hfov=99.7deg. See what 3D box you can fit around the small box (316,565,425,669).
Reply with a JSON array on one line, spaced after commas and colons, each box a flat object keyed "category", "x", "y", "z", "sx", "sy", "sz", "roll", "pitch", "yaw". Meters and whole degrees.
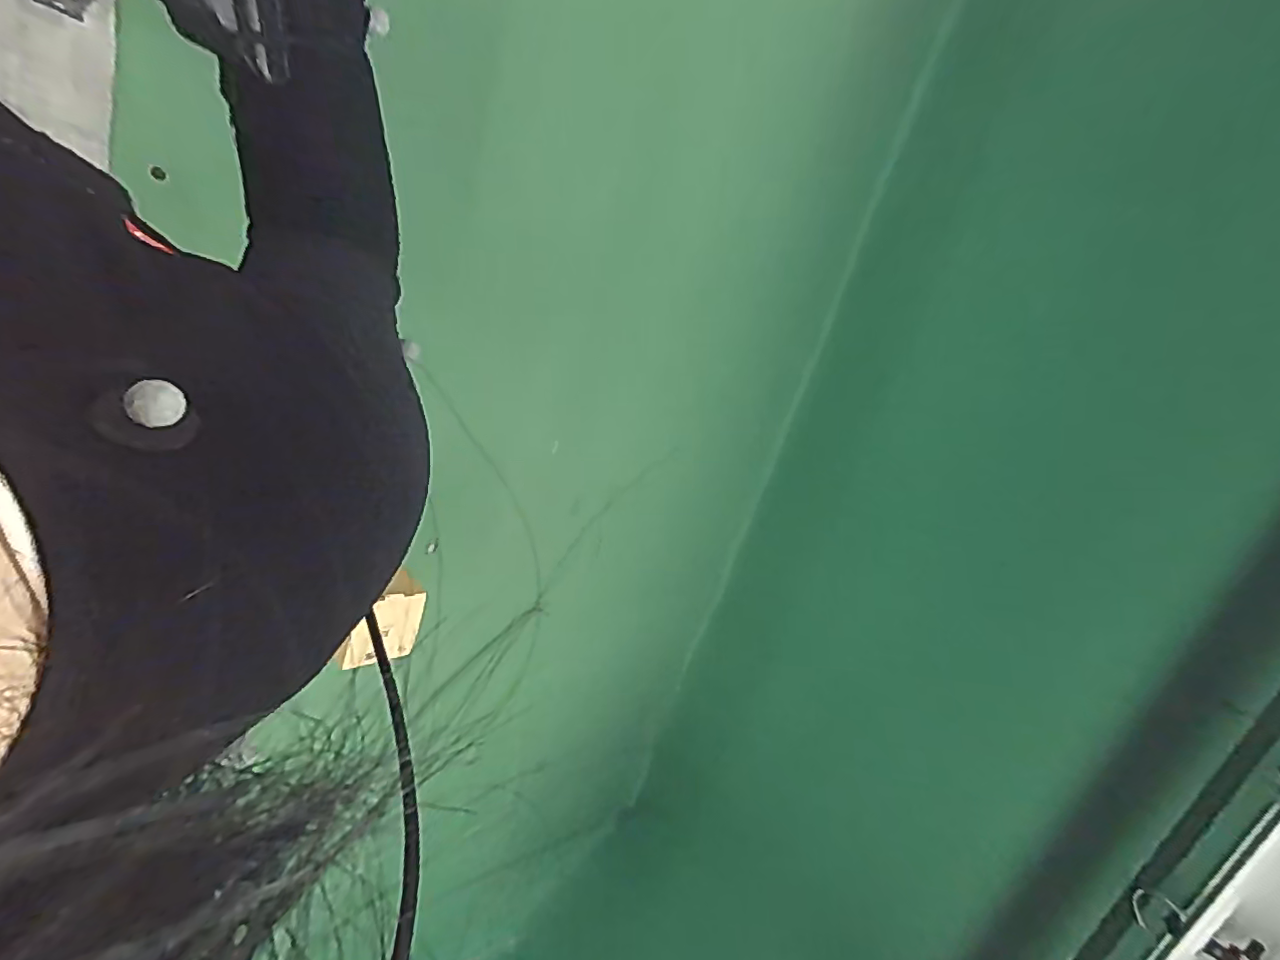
[{"category": "small box", "x": -0.647, "y": 0.314, "z": 1.290, "sx": 0.168, "sy": 0.176, "sz": 0.179, "roll": 3, "pitch": 111, "yaw": -52}]
